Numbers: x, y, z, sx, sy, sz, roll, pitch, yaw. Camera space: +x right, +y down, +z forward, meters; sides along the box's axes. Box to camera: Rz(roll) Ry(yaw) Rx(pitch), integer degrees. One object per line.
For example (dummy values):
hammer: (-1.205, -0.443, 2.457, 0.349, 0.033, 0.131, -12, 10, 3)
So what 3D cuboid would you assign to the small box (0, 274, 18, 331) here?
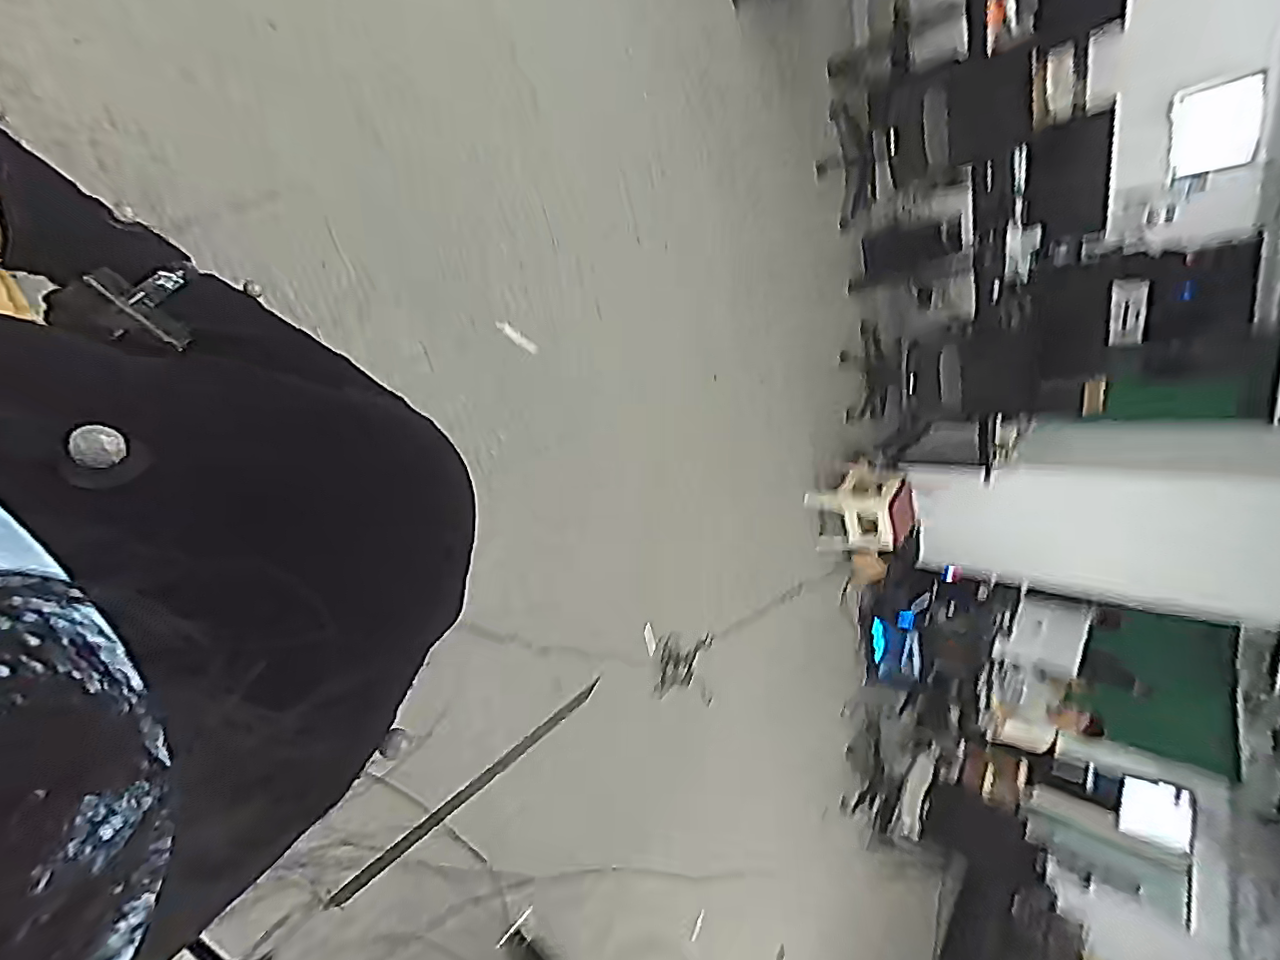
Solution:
small box: (-1.031, -0.303, 0.759, 0.168, 0.176, 0.179, -23, 111, -41)

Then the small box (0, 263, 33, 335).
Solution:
small box: (-1.144, -0.322, 0.875, 0.168, 0.176, 0.179, -32, 115, -39)
